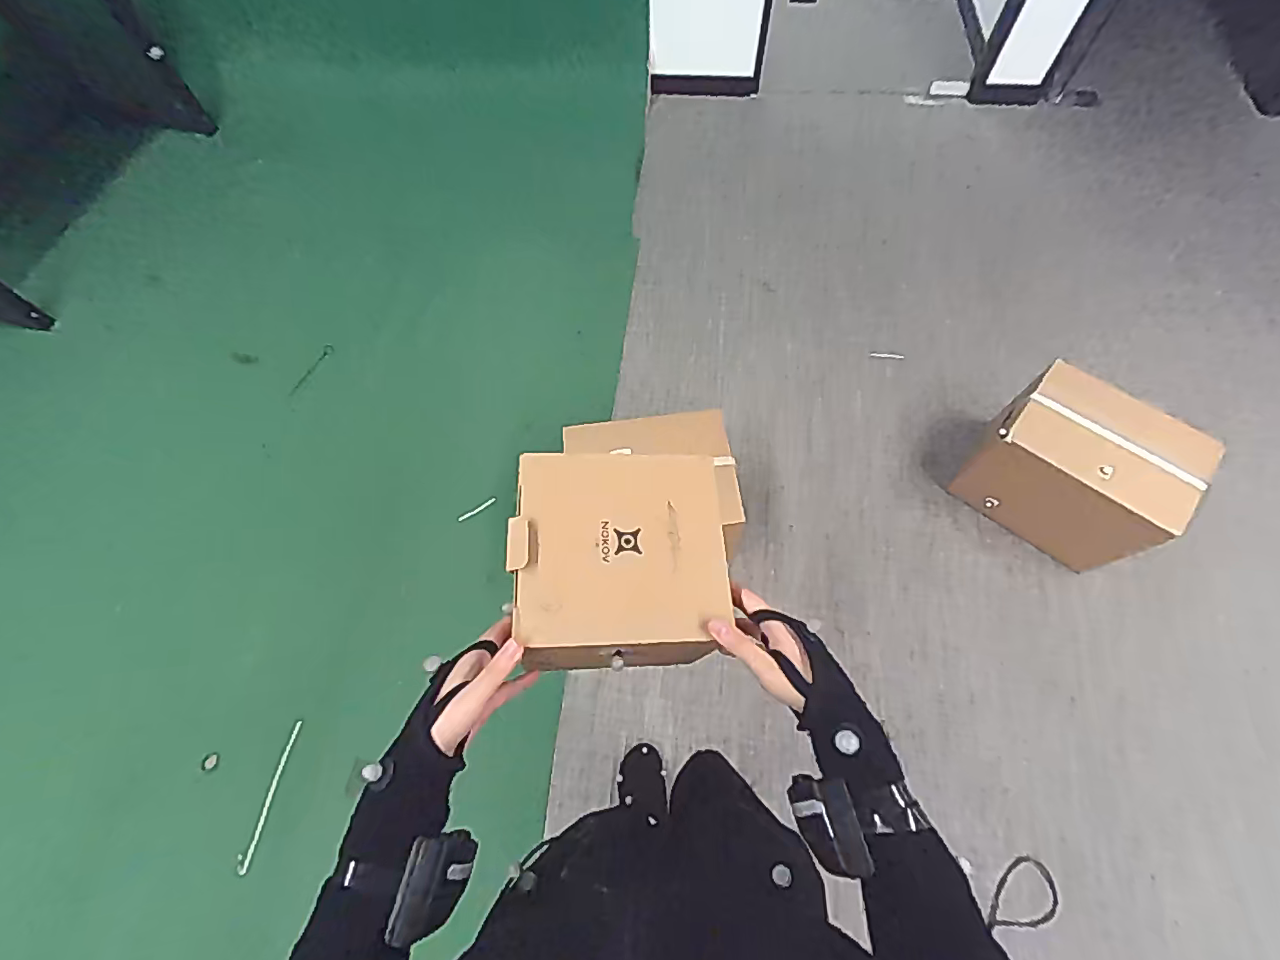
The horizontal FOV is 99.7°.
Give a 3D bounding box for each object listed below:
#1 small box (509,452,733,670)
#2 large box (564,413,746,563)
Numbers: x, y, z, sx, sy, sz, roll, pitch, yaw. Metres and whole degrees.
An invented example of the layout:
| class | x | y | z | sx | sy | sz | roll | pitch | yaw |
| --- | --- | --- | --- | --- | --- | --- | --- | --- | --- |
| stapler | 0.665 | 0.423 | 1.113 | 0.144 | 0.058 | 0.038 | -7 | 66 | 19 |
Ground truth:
| class | x | y | z | sx | sy | sz | roll | pitch | yaw |
| --- | --- | --- | --- | --- | --- | --- | --- | --- | --- |
| small box | -0.025 | 0.086 | 0.518 | 0.179 | 0.176 | 0.168 | 1 | 64 | -8 |
| large box | 0.035 | 0.059 | 1.419 | 0.408 | 0.320 | 0.320 | -8 | 63 | 0 |
